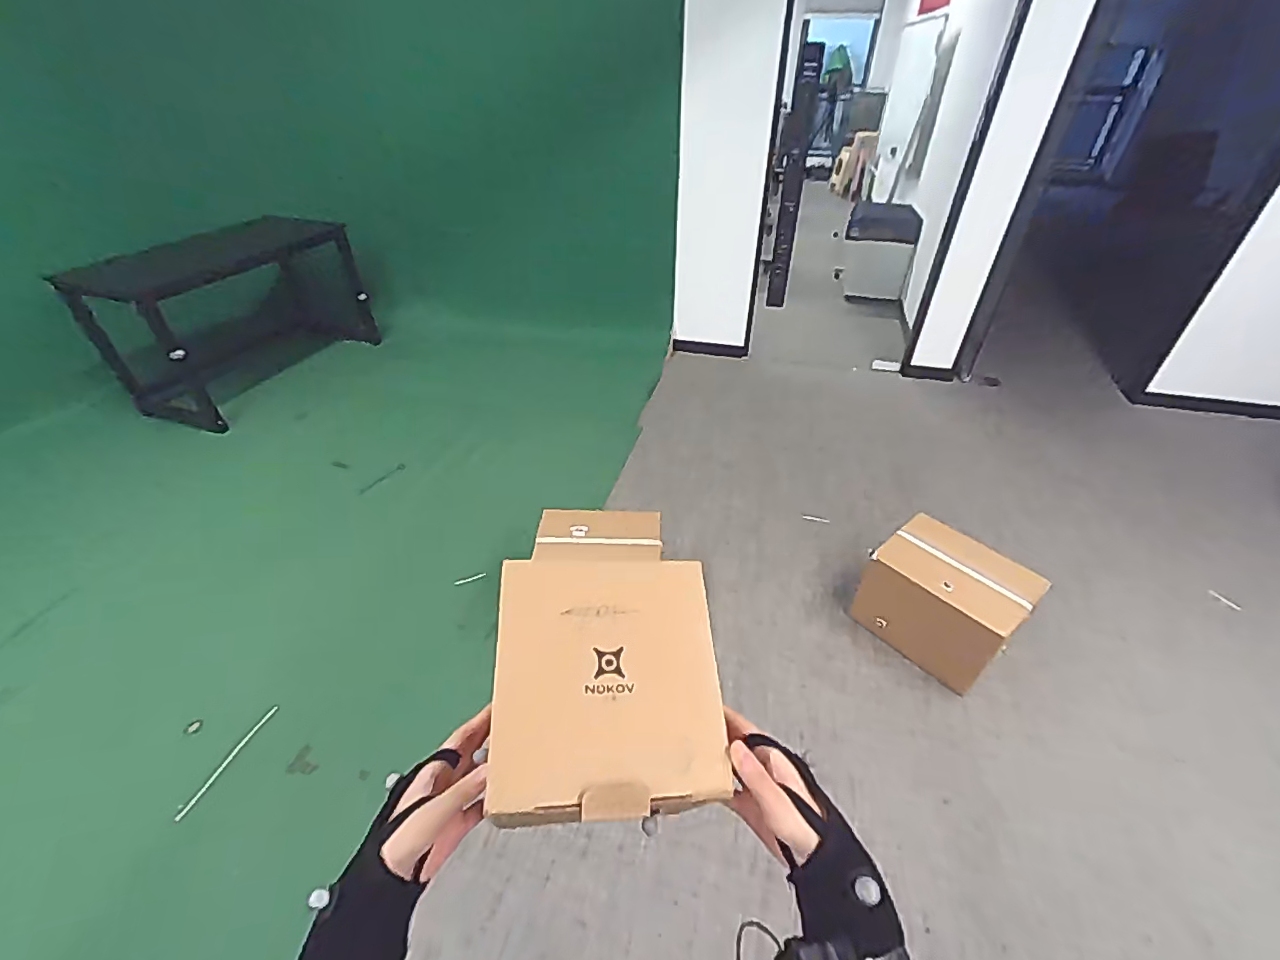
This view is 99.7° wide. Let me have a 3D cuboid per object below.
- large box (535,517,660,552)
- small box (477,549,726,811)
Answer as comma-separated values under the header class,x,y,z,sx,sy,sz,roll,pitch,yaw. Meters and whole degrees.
class,x,y,z,sx,sy,sz,roll,pitch,yaw
large box,-0.132,0.339,1.808,0.408,0.320,0.320,0,37,2
small box,-0.039,0.175,0.460,0.168,0.176,0.179,3,54,-10
